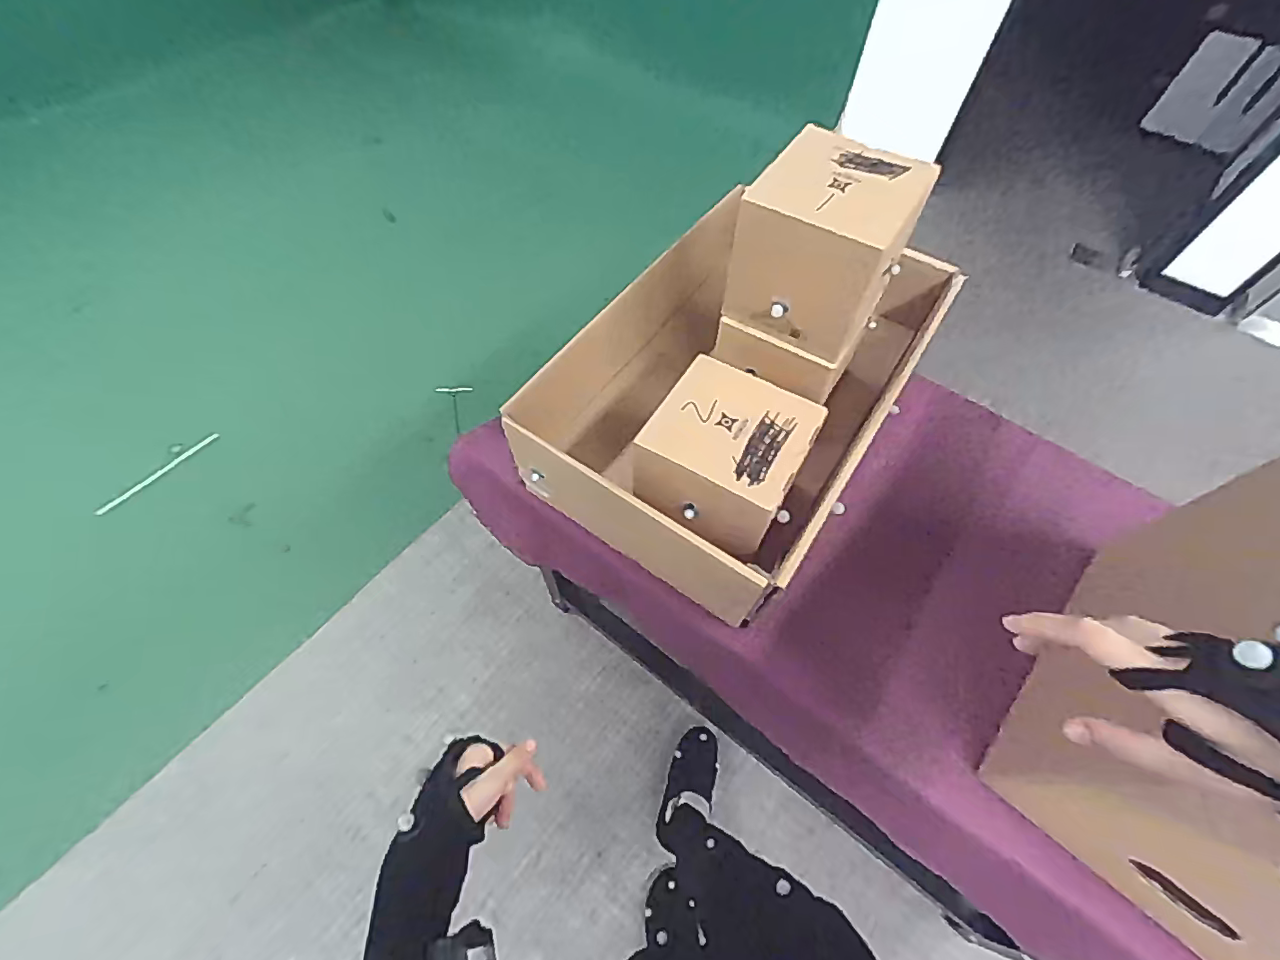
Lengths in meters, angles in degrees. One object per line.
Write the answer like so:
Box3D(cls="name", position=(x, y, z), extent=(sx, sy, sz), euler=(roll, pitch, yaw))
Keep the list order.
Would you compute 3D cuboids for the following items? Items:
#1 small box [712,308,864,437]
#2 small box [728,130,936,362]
Box3D(cls="small box", position=(0.218, -0.194, 0.804), extent=(0.168, 0.176, 0.179), euler=(29, 64, 17))
Box3D(cls="small box", position=(0.222, -0.283, 0.666), extent=(0.168, 0.176, 0.179), euler=(30, 65, 17))
